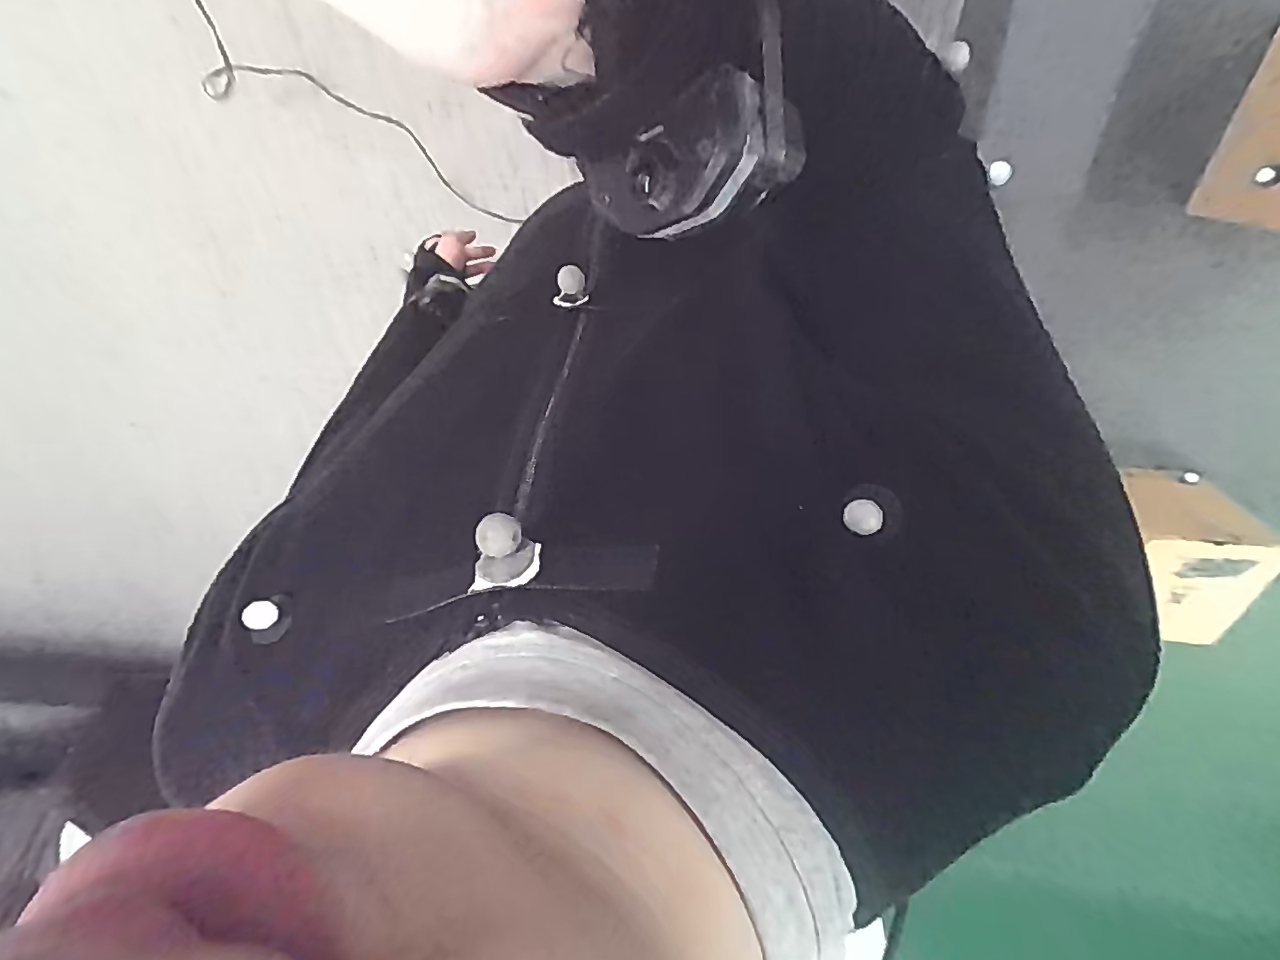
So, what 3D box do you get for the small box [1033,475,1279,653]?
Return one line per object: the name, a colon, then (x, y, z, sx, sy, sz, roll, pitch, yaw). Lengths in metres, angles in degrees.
small box: (0.698, 0.110, 0.754, 0.168, 0.176, 0.179, 5, 124, 5)
